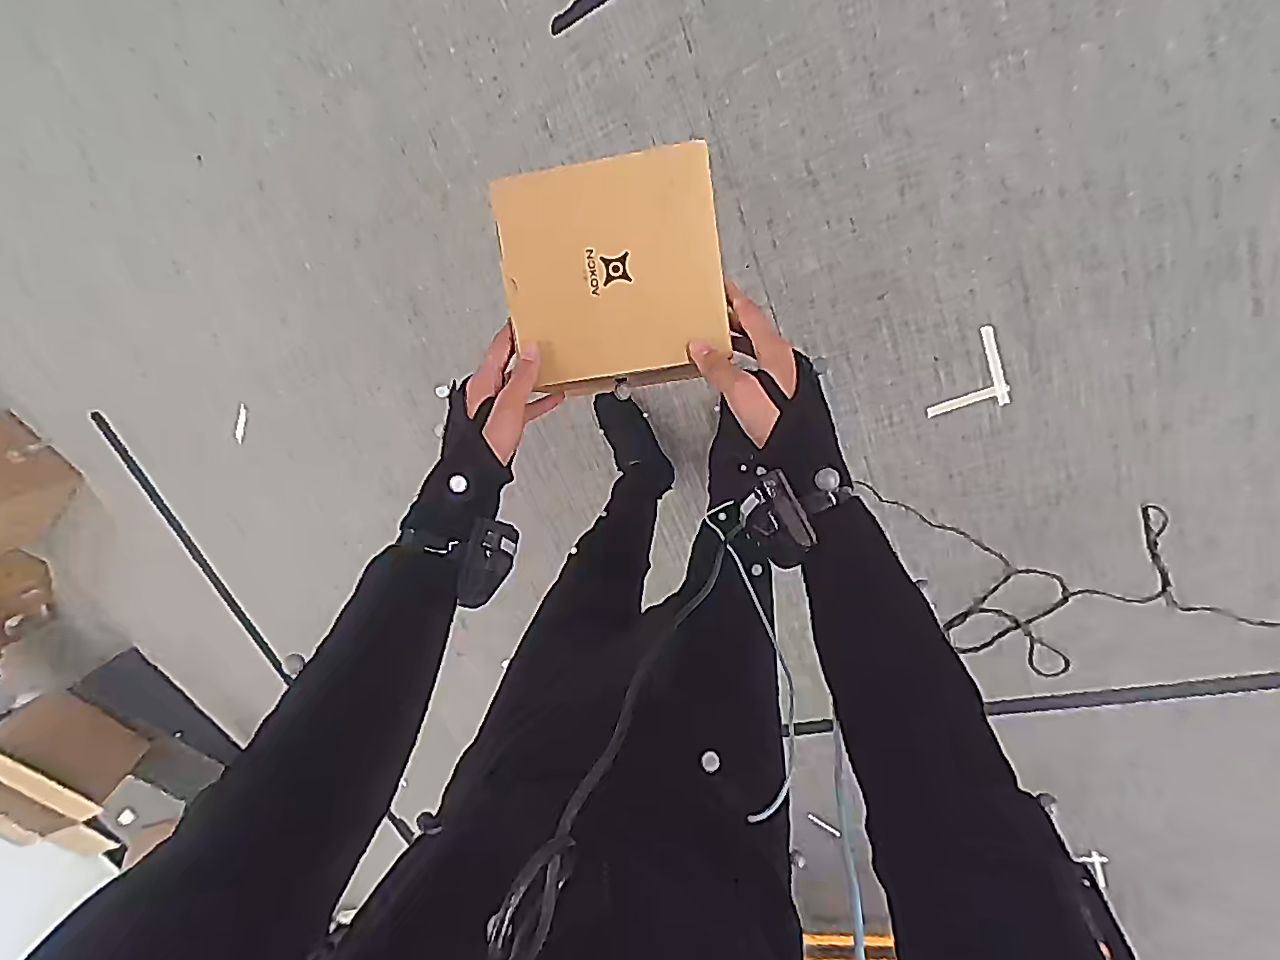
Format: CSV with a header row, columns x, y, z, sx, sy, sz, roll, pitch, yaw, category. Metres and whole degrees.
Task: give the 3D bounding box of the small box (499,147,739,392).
x,y,z,sx,sy,sz,roll,pitch,yaw,category
-0.009,-0.175,0.505,0.179,0.176,0.168,-7,97,7,small box
